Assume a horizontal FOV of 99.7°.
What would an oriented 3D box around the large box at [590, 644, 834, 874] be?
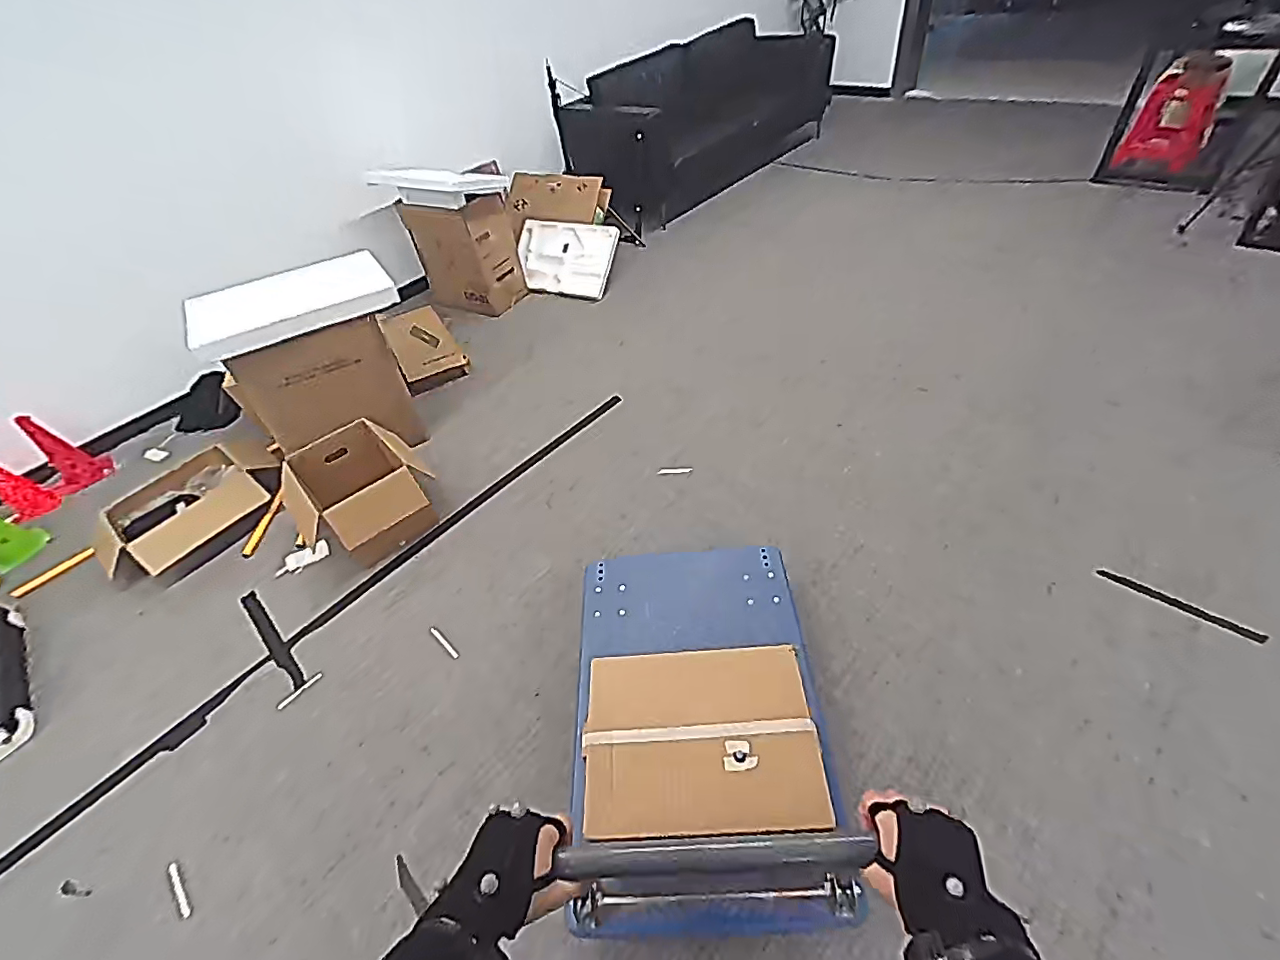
[{"bbox_3d":[0.122,0.557,1.075,0.408,0.320,0.320,-5,46,3],"label":"large box"}]
